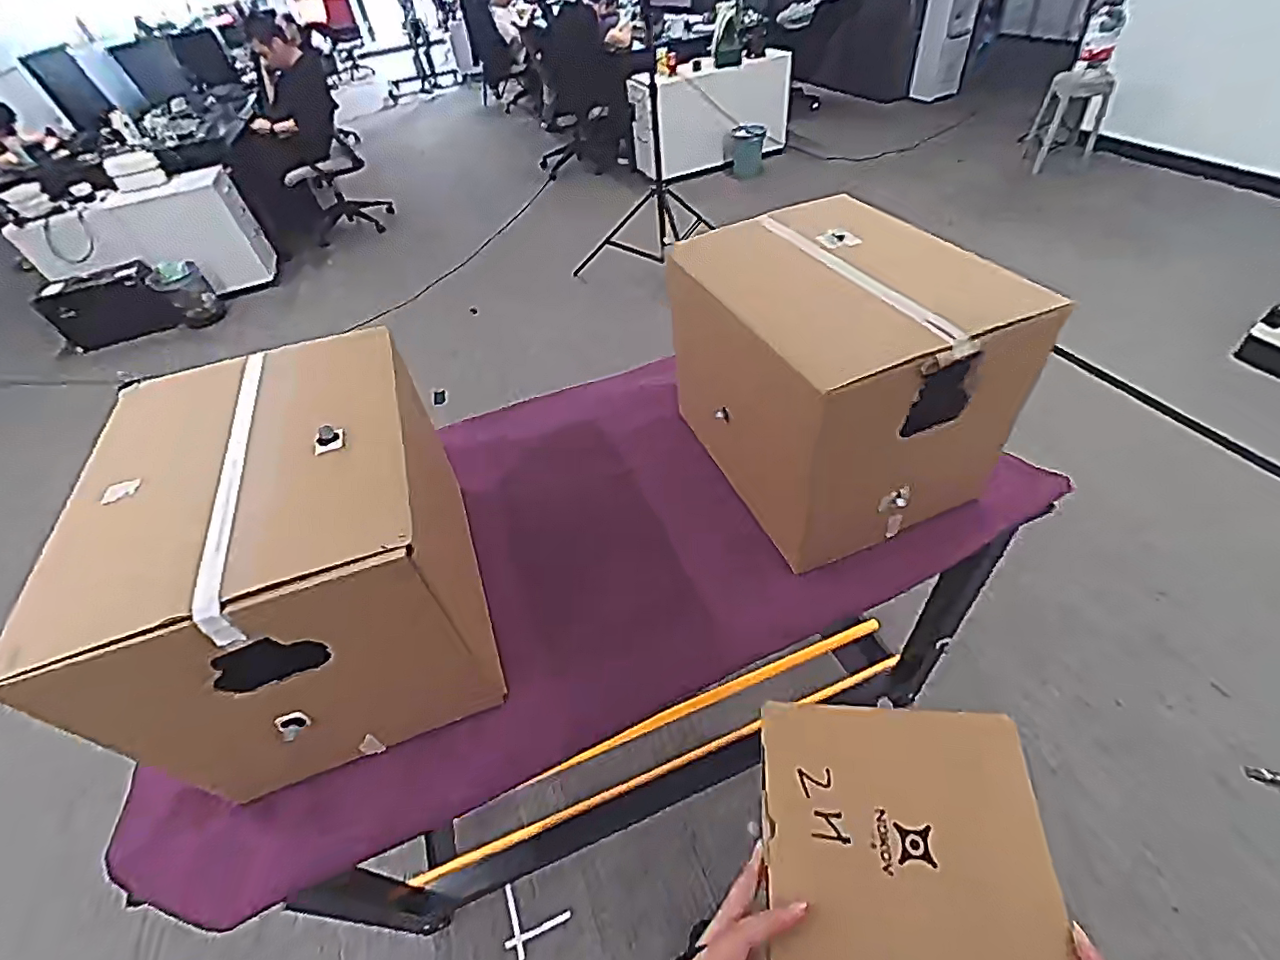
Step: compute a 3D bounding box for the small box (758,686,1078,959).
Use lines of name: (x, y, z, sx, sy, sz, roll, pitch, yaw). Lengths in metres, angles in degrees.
small box: (0.182, 0.269, 0.415, 0.179, 0.176, 0.168, -2, 55, 13)

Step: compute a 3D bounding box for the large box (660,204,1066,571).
large box: (0.262, -0.150, 0.784, 0.320, 0.320, 0.408, -20, 45, -11)
